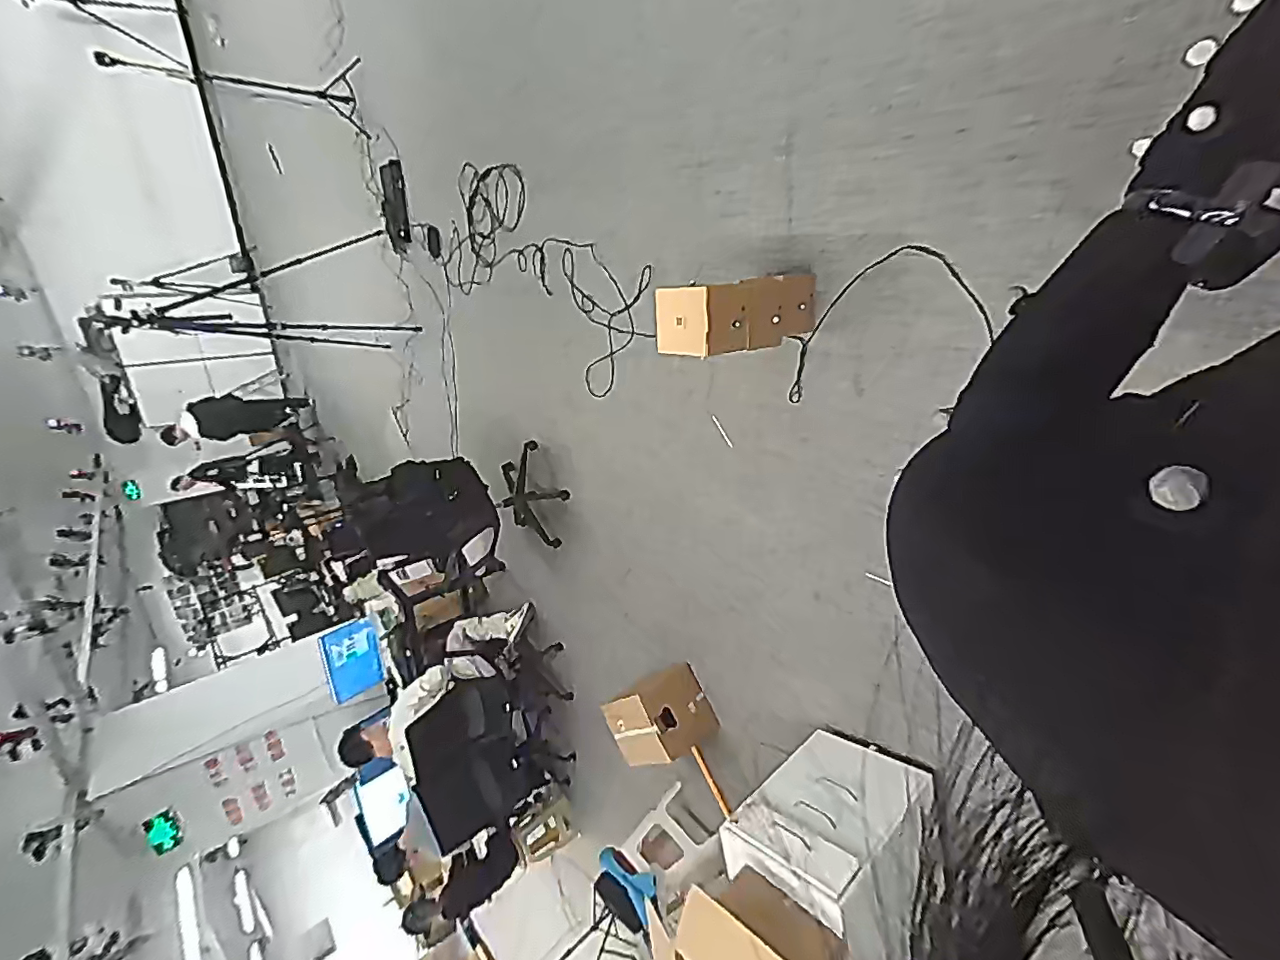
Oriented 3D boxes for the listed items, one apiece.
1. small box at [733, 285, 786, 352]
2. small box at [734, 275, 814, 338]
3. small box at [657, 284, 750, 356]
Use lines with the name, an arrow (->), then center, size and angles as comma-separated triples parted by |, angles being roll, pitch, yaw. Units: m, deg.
small box -> 0.282, -0.456, 1.514 | 0.179, 0.176, 0.168 | 19, 120, 44
small box -> 0.401, -0.516, 1.611 | 0.179, 0.176, 0.168 | 15, 116, 47
small box -> 0.164, -0.419, 1.409 | 0.179, 0.176, 0.168 | 18, 118, 45
